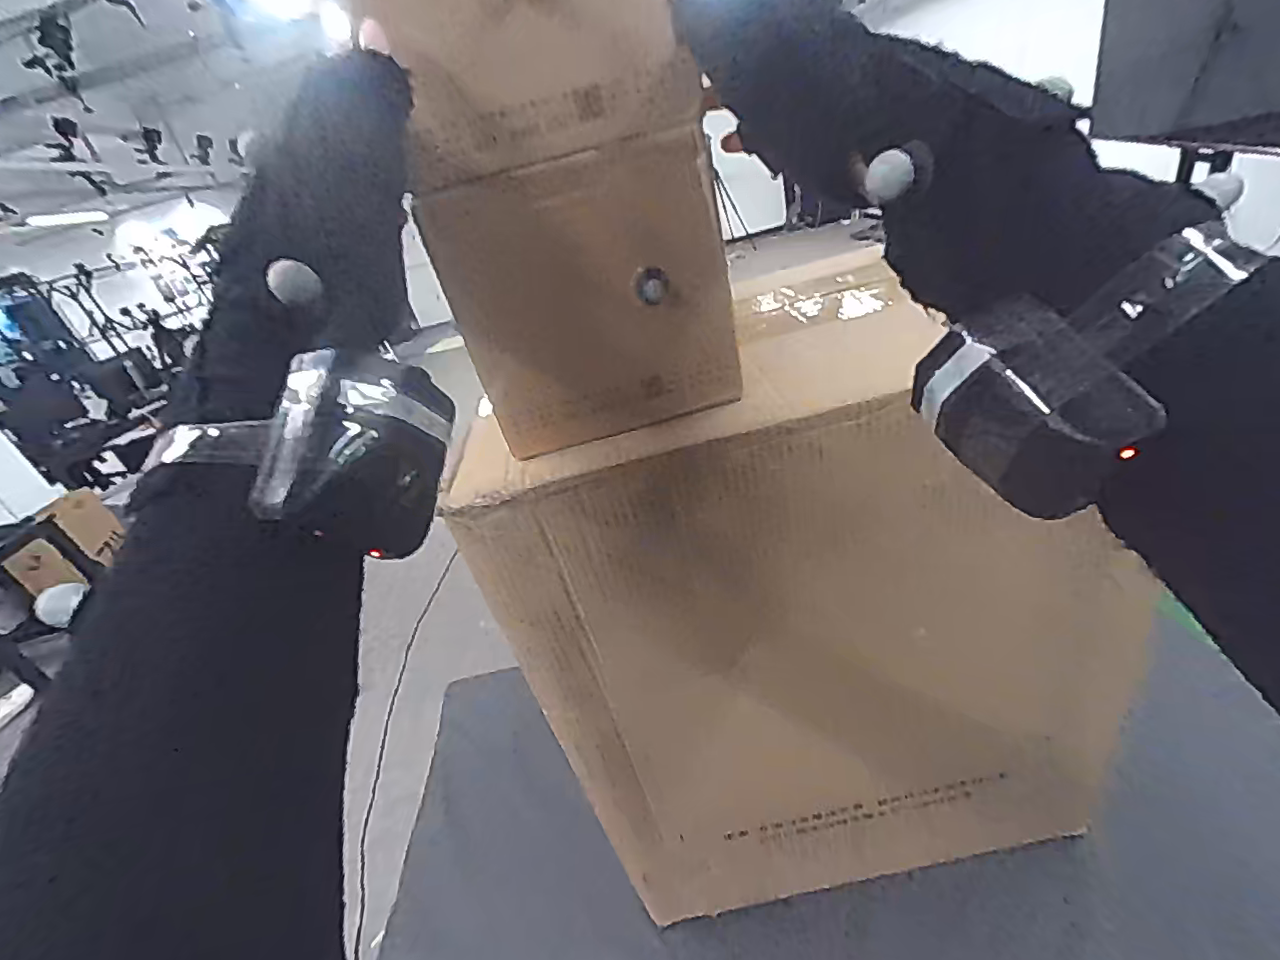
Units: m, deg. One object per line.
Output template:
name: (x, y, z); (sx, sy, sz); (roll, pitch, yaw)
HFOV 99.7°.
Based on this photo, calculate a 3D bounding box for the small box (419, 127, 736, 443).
small box: (-0.035, -0.140, 0.403); (0.168, 0.176, 0.179); (-14, 30, 0)
